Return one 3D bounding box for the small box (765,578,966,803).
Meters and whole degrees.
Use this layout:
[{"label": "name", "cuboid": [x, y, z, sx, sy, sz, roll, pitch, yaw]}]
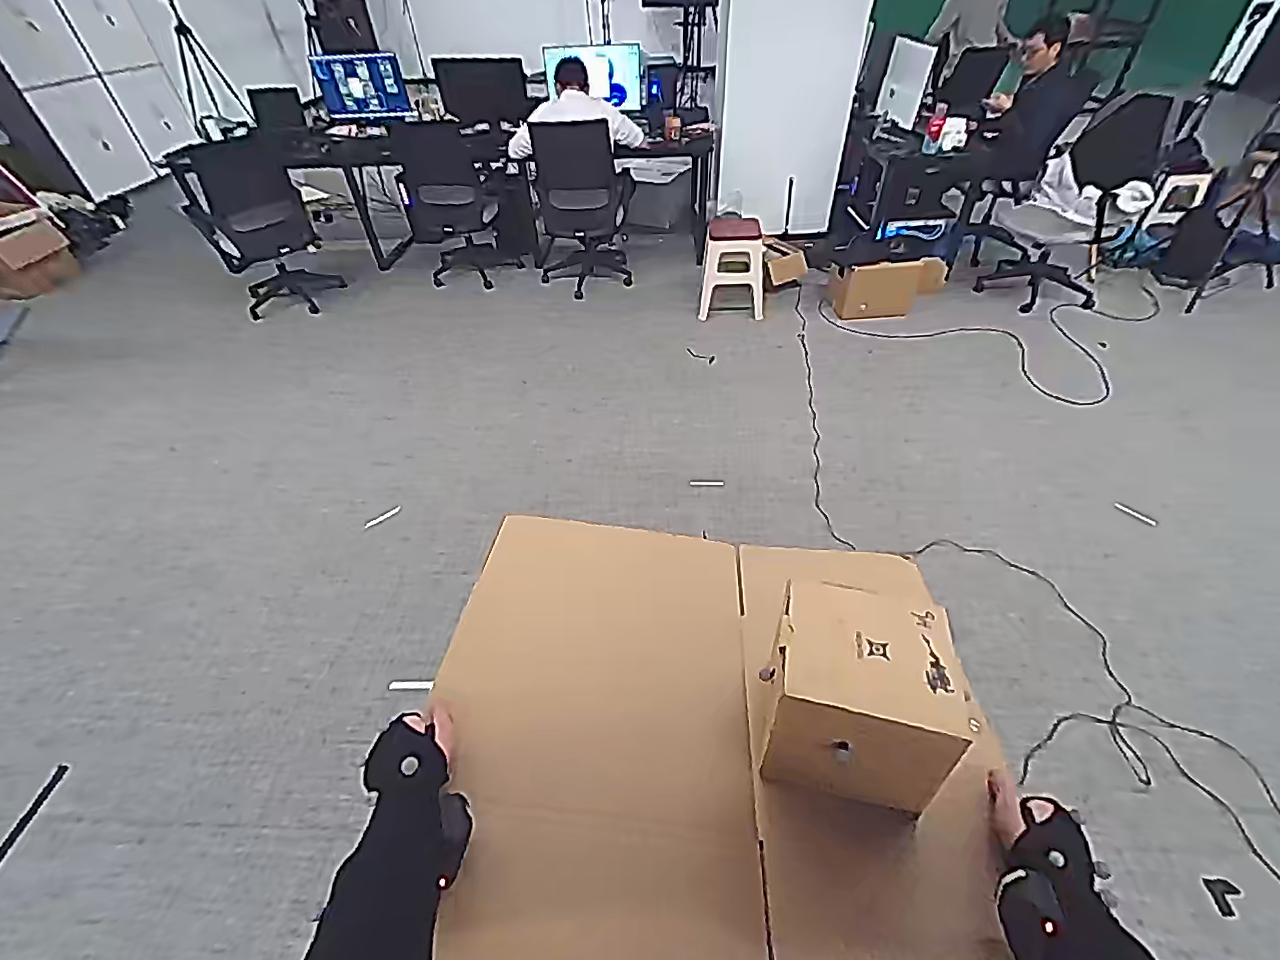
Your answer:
[{"label": "small box", "cuboid": [0.246, 0.244, 0.632, 0.179, 0.176, 0.168, 8, 38, 13]}]
